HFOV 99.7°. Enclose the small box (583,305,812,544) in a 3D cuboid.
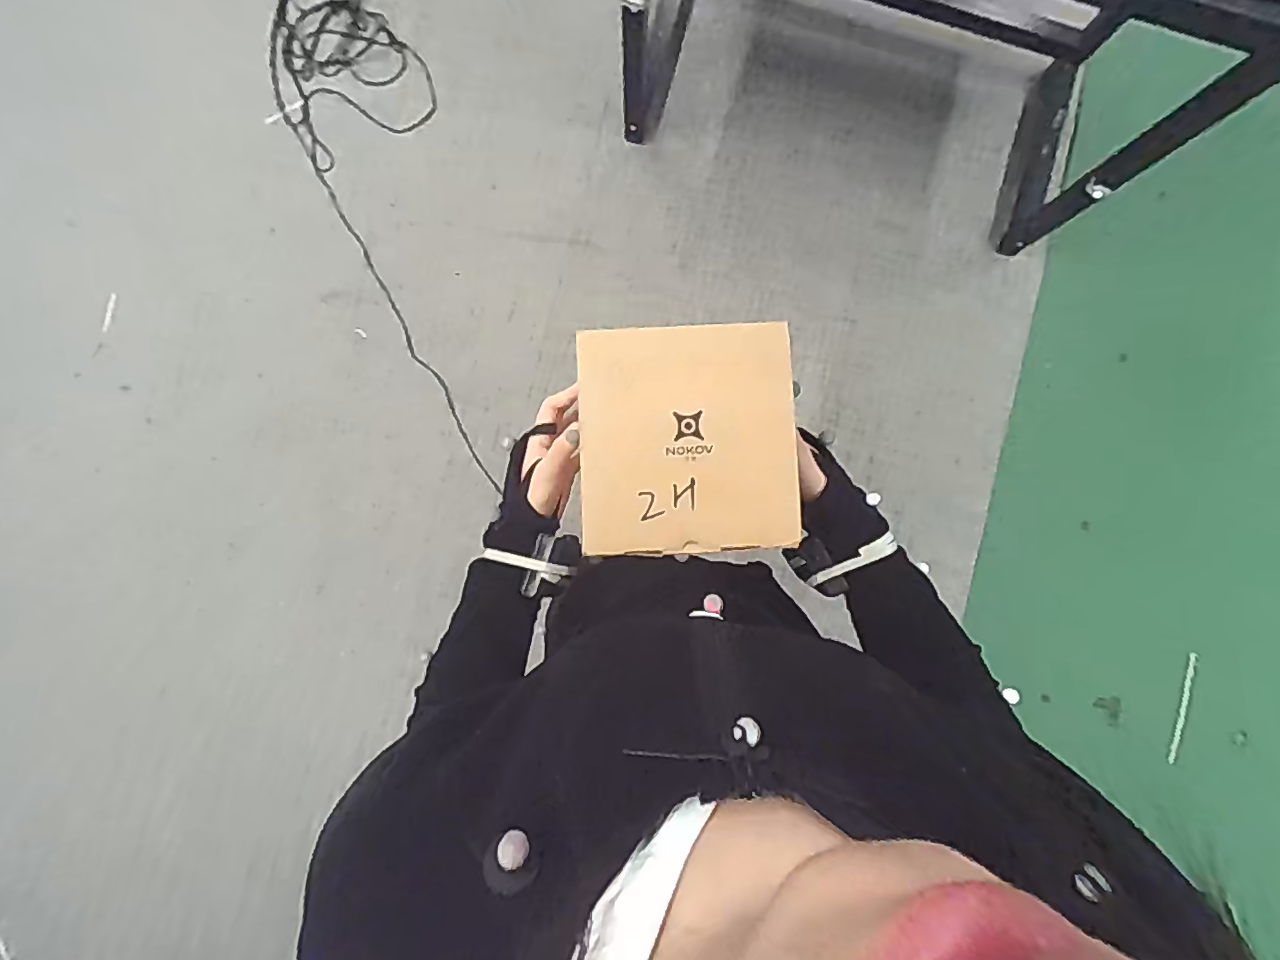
[{"bbox_3d":[0.040,-0.035,0.472,0.168,0.176,0.179,-2,85,1],"label":"small box"}]
